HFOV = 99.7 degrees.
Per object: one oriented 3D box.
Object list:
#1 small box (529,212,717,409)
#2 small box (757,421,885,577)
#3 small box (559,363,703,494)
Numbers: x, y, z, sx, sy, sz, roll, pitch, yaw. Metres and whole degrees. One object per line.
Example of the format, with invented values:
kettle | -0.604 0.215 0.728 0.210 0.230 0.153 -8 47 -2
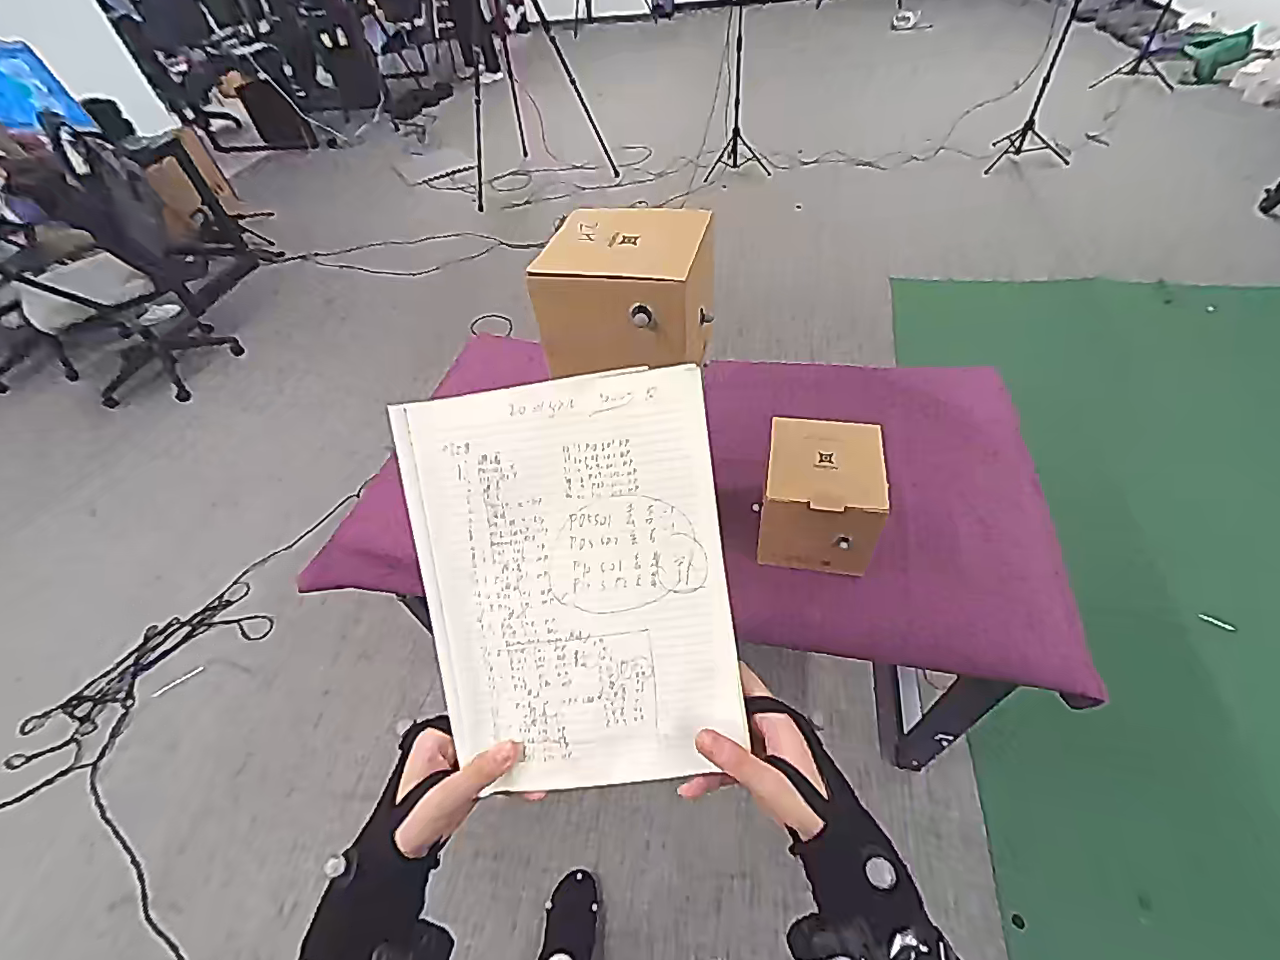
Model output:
small box | -0.007 -0.205 0.658 0.179 0.176 0.168 8 48 14
small box | 0.279 0.032 0.856 0.168 0.176 0.179 7 49 12
small box | 0.000 -0.100 0.786 0.168 0.176 0.179 6 48 12
